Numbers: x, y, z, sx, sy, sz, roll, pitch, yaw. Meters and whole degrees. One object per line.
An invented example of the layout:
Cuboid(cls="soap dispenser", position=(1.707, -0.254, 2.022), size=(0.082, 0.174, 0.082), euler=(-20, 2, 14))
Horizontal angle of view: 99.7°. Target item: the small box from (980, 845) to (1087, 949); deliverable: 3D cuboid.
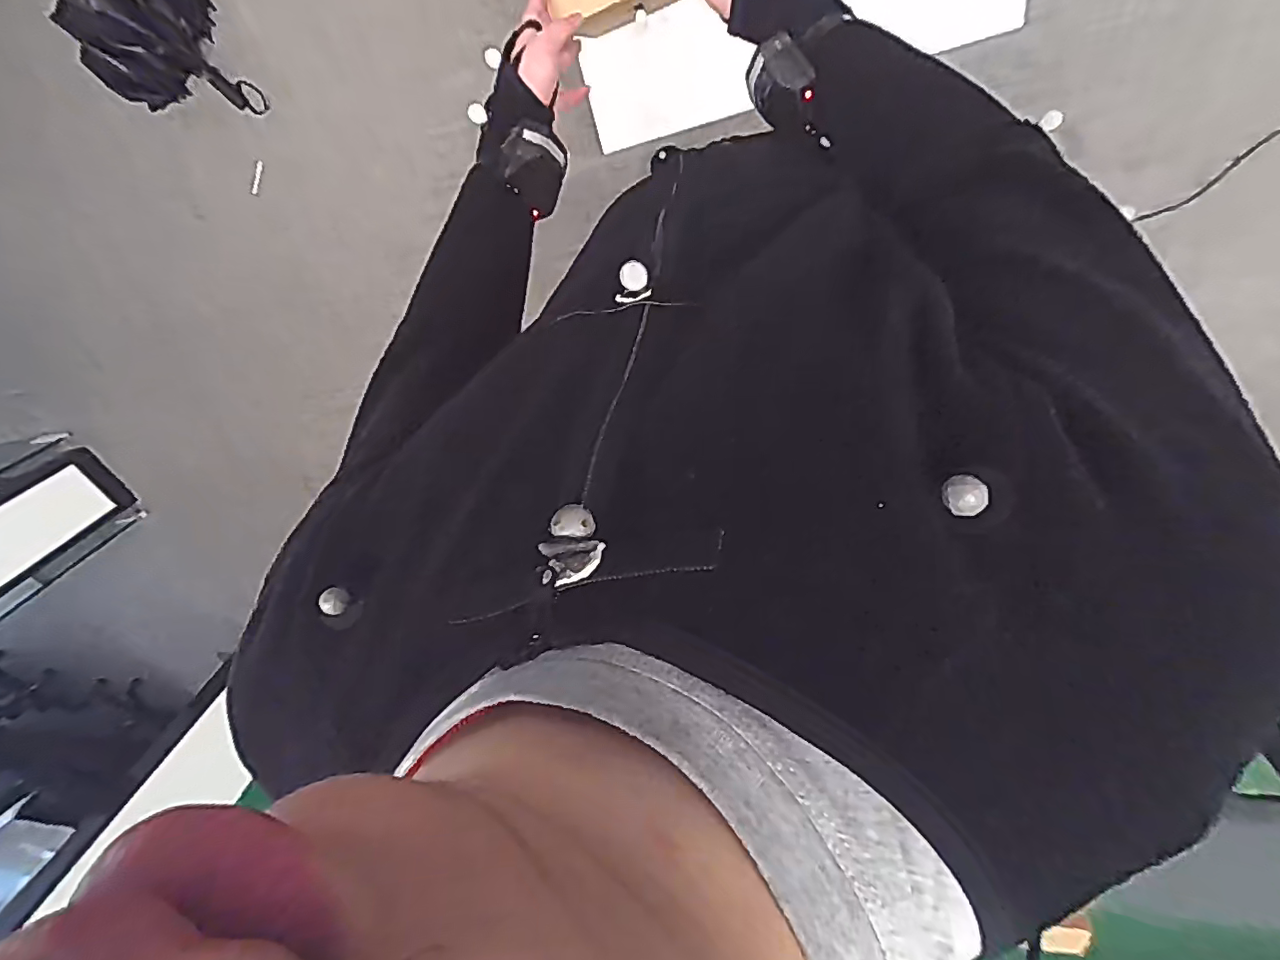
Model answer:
Cuboid(cls="small box", position=(1.025, 1.094, 1.425), size=(0.179, 0.176, 0.168), euler=(-6, 124, 19))

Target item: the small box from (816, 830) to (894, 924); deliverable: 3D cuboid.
Cuboid(cls="small box", position=(0.607, 1.130, 1.544), size=(0.179, 0.176, 0.168), euler=(-1, 126, 13))

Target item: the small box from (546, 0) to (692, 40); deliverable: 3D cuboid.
Cuboid(cls="small box", position=(-0.015, -0.579, 0.547), size=(0.179, 0.176, 0.168), euler=(-9, 124, 20))
